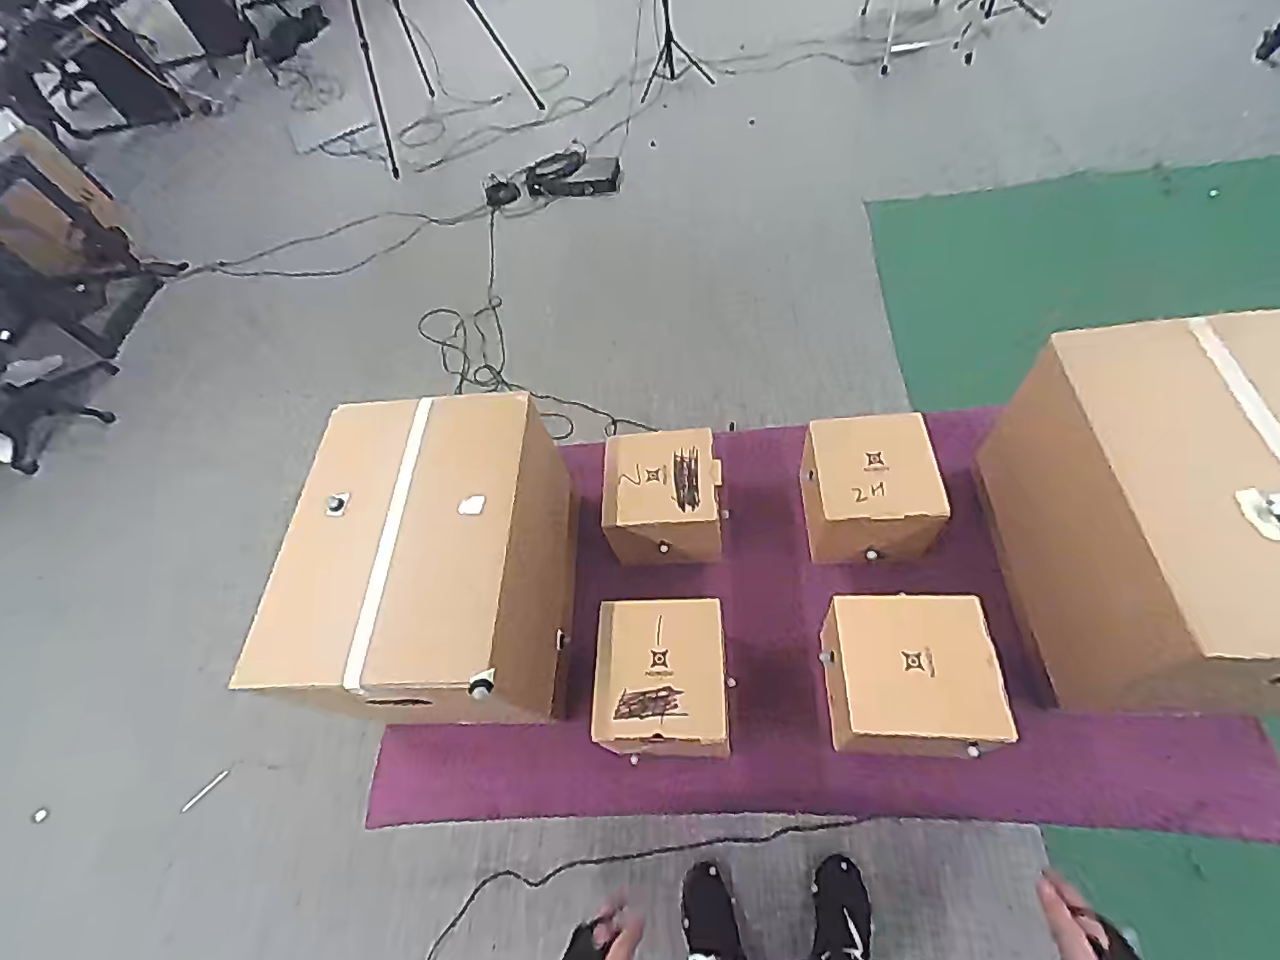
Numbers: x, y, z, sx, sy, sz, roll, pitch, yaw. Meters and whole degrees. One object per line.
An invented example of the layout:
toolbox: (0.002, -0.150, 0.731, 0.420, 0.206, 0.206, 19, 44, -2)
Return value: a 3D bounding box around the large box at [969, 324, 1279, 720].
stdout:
large box: (0.680, 0.065, 0.680, 0.320, 0.320, 0.408, -3, 59, 10)
